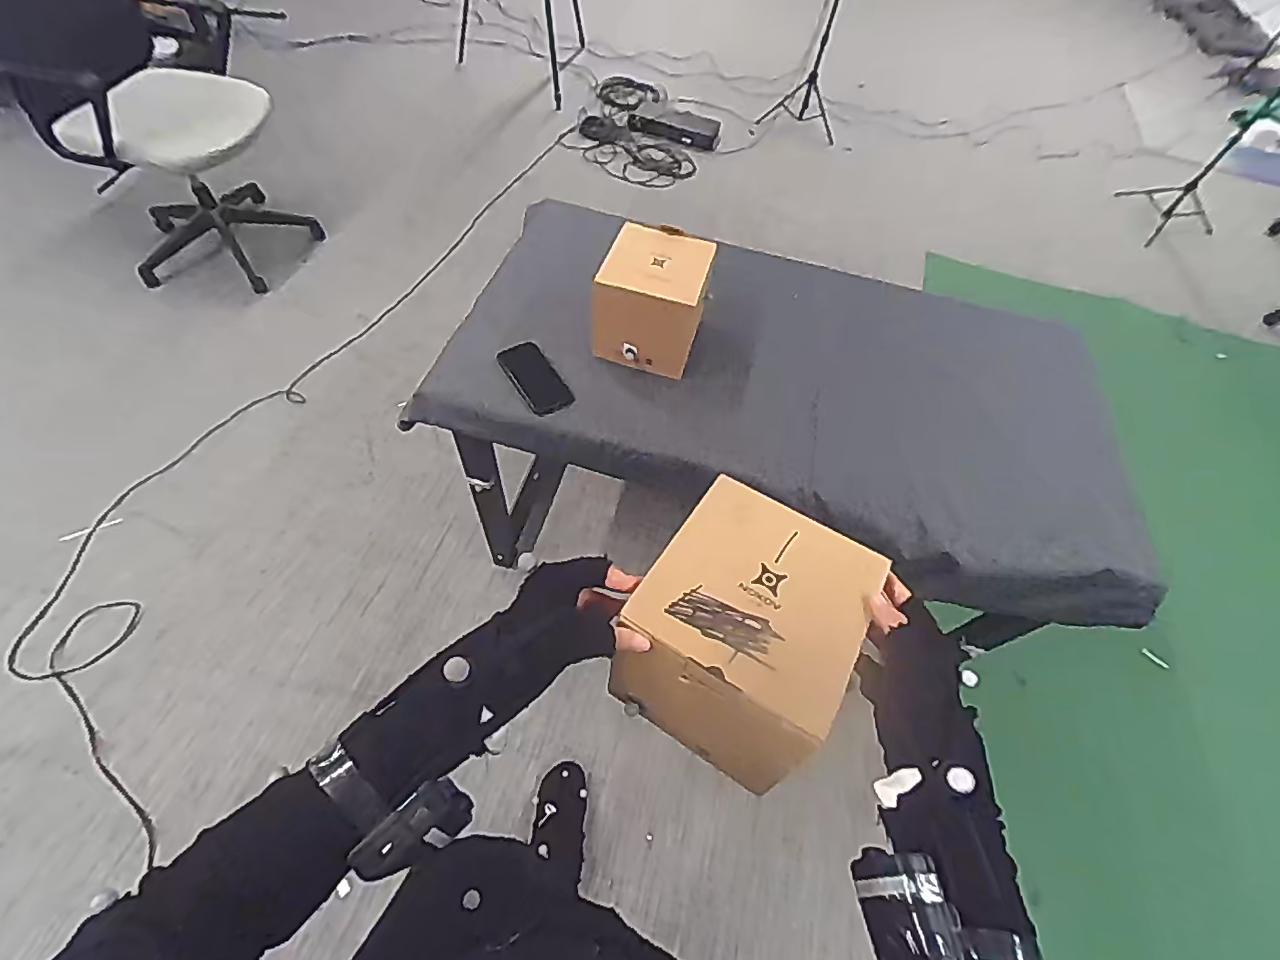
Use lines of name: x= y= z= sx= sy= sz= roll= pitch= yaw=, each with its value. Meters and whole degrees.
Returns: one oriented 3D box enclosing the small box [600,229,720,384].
small box: x=0.029 y=-0.301 z=0.947 sx=0.168 sy=0.176 sz=0.179 roll=15 pitch=57 yaw=5
